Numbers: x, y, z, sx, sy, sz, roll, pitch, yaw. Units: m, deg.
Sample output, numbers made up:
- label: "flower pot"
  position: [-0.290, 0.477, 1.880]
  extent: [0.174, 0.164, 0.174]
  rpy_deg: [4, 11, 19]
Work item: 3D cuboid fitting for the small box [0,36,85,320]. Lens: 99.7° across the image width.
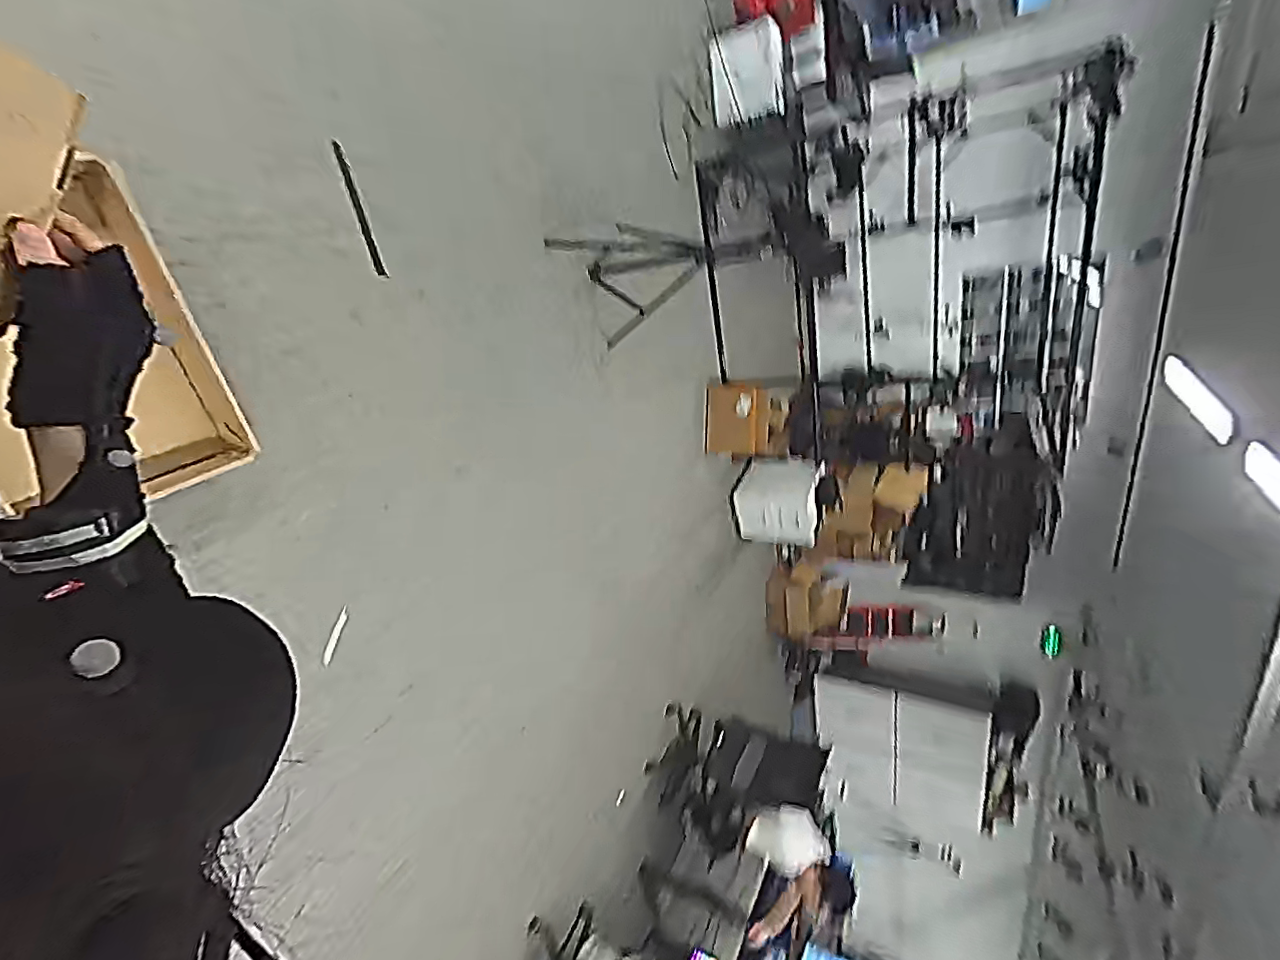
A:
- label: "small box"
  position: [-0.467, -0.213, 0.284]
  extent: [0.168, 0.176, 0.179]
  rpy_deg: [-63, 158, 7]
